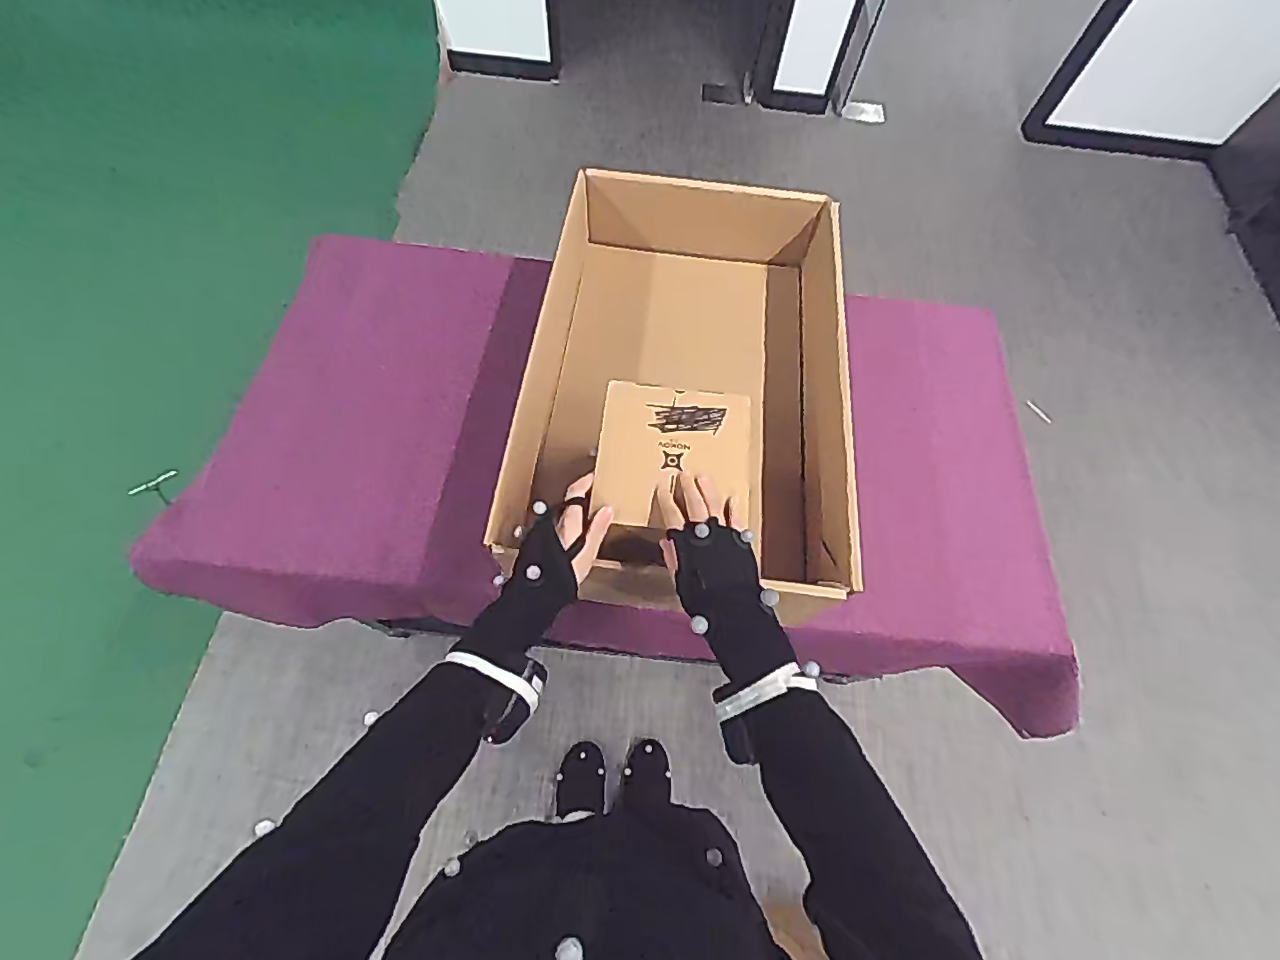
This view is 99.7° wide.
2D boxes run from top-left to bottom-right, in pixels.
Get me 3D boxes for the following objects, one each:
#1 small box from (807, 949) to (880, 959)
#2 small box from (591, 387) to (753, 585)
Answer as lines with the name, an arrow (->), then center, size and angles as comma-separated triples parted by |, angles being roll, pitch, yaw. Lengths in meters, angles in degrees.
small box -> 0.348, 0.824, 0.789 | 0.168, 0.176, 0.179 | 8, 63, 1
small box -> 0.036, 0.014, 0.655 | 0.168, 0.176, 0.179 | 6, 65, 1
